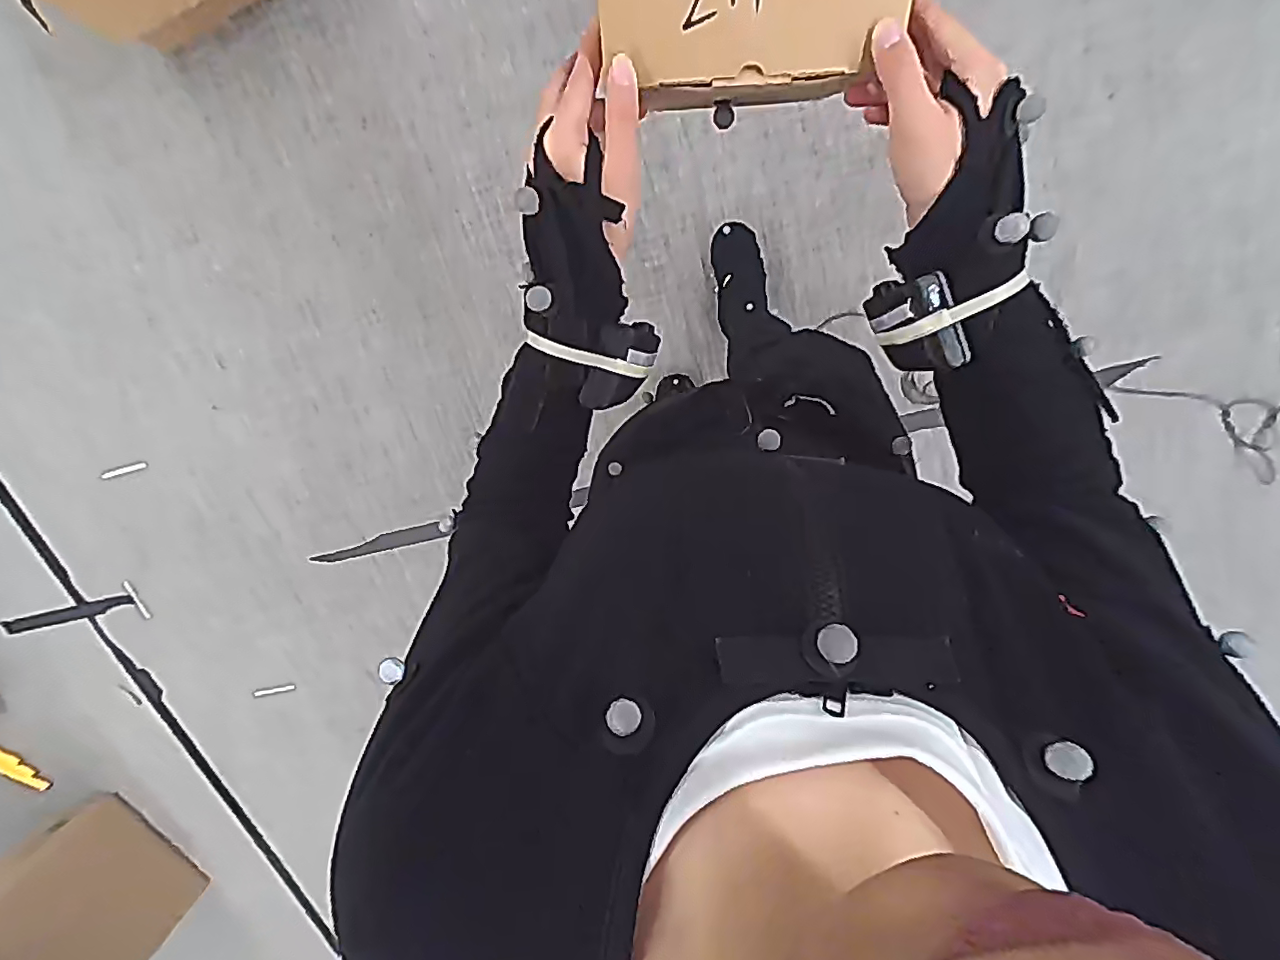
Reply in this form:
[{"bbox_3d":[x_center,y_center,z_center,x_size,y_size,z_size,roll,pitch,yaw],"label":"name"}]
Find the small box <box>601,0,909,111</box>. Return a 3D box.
[{"bbox_3d":[0.058,-0.342,0.328,0.168,0.176,0.179,-2,119,1],"label":"small box"}]
